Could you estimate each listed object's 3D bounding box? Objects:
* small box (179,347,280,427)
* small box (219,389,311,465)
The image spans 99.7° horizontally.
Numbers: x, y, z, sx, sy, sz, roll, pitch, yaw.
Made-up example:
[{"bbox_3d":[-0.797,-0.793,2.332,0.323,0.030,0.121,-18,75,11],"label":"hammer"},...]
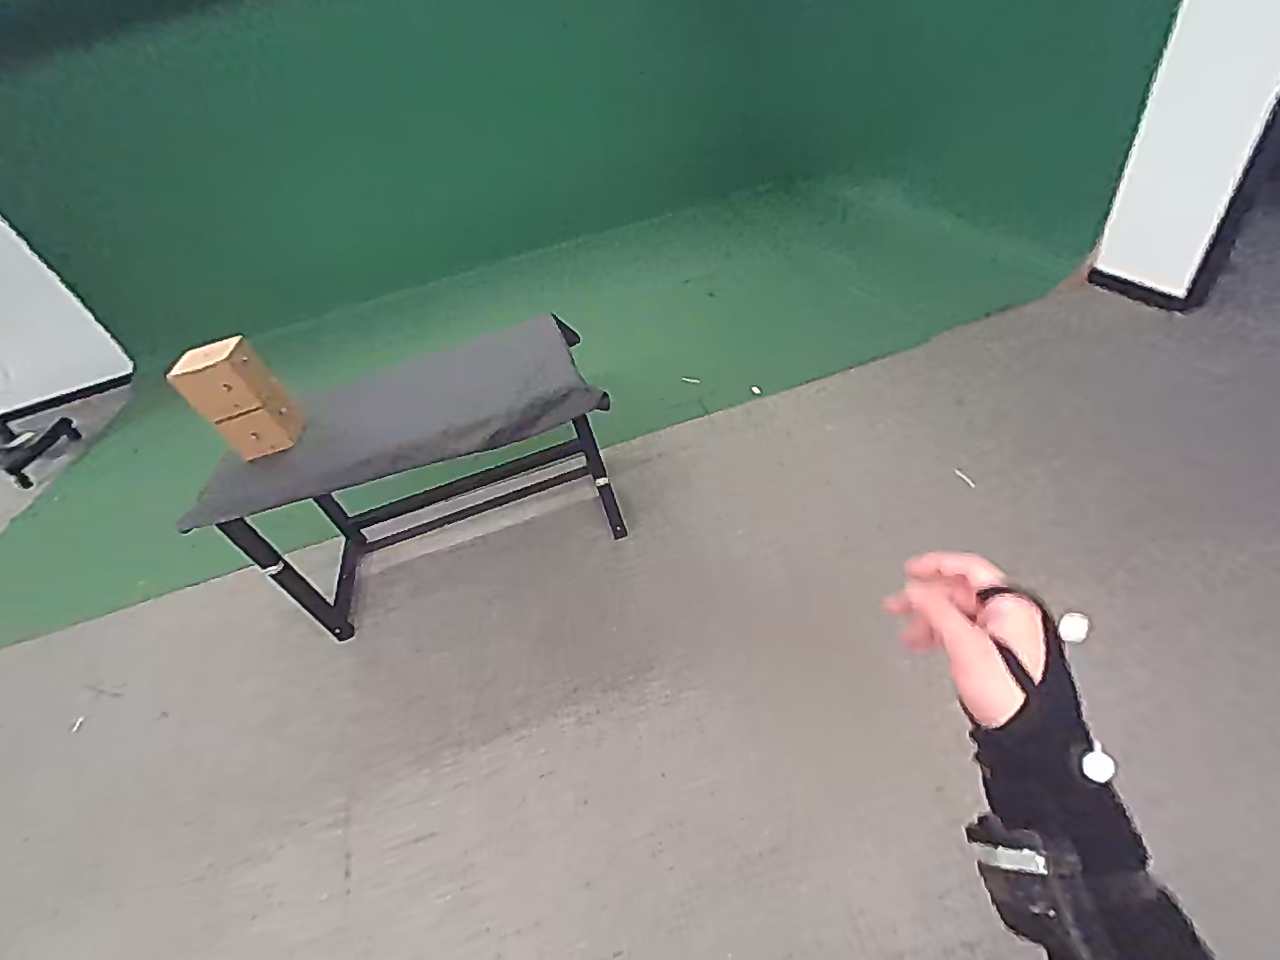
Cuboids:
[{"bbox_3d":[-1.255,-0.282,1.671,0.168,0.176,0.179,-19,39,-5],"label":"small box"},{"bbox_3d":[-1.226,-0.169,1.786,0.168,0.176,0.179,-18,40,-3],"label":"small box"}]
